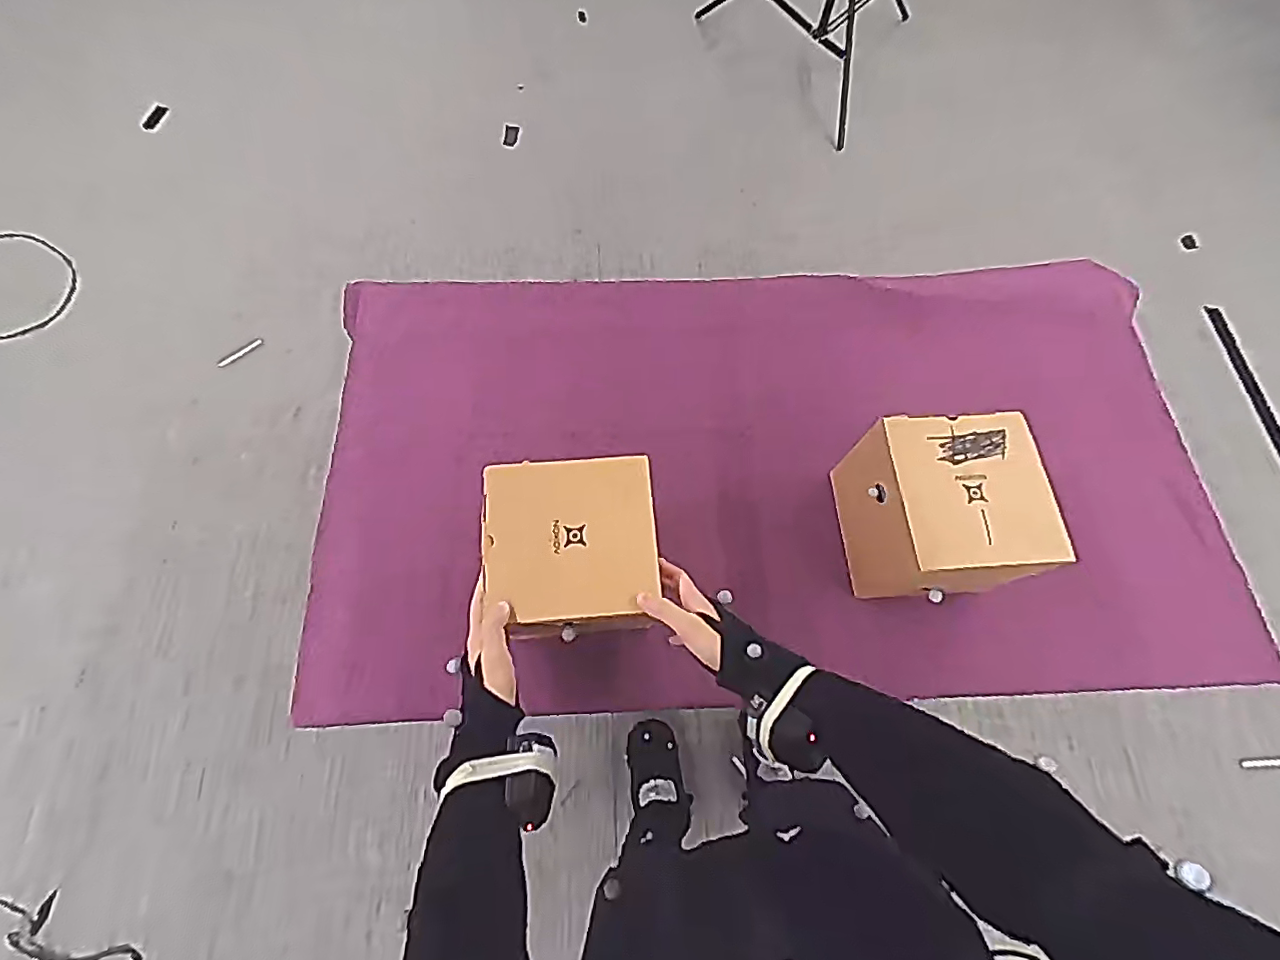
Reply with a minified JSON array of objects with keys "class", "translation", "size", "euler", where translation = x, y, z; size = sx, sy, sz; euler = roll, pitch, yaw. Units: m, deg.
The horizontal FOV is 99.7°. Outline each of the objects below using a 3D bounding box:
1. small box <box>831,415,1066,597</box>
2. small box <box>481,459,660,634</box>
[{"class":"small box","translation":[0.348,0.038,0.654],"size":[0.168,0.176,0.179],"euler":[-3,69,-2]},{"class":"small box","translation":[-0.076,0.084,0.624],"size":[0.179,0.176,0.168],"euler":[-4,71,-3]}]
